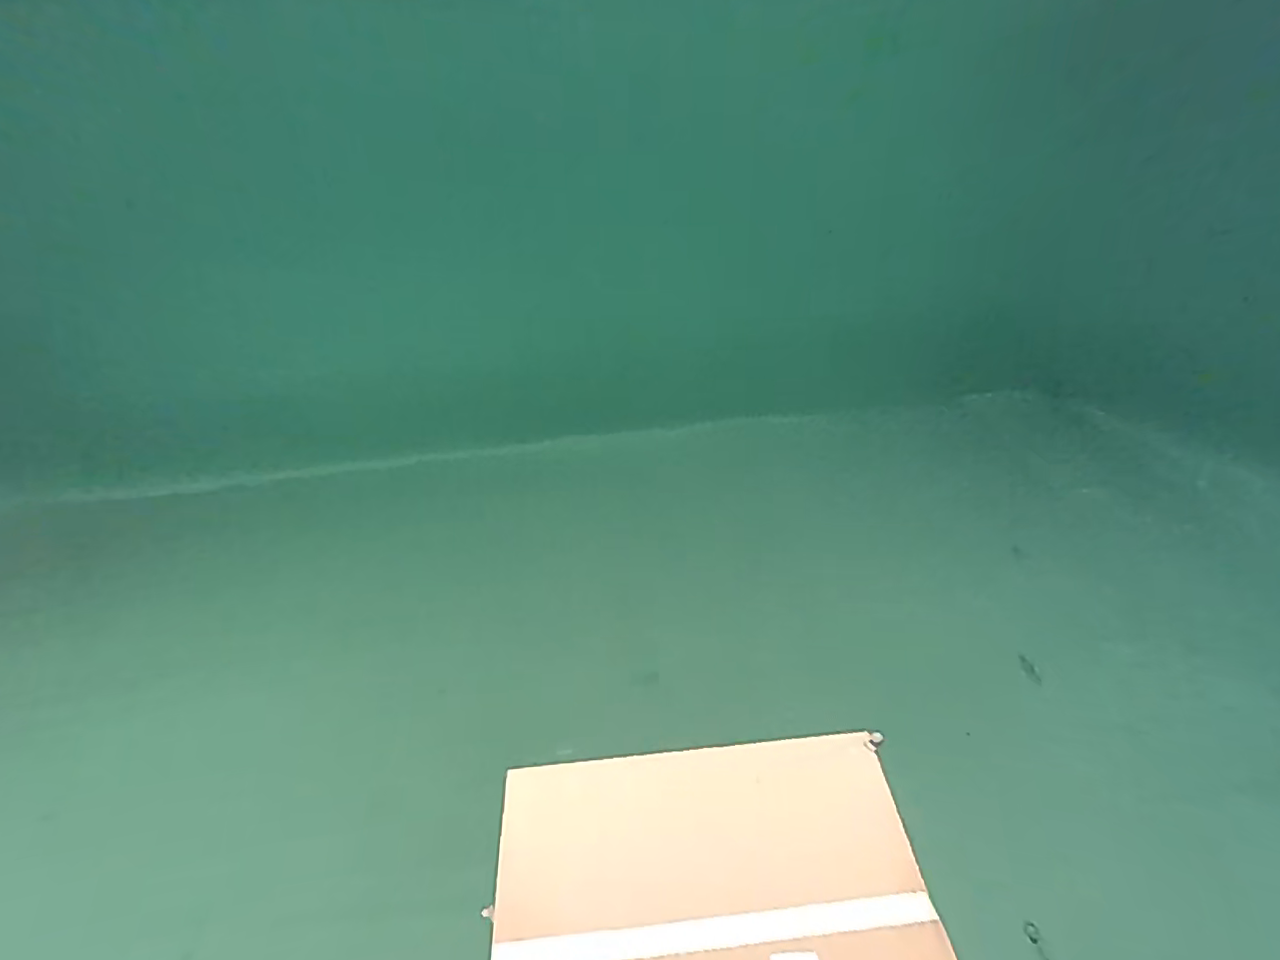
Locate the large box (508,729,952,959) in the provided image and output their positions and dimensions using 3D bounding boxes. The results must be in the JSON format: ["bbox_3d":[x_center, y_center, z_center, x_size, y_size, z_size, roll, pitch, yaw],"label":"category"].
[{"bbox_3d":[0.080,0.517,0.606,0.408,0.320,0.320,-6,46,-2],"label":"large box"}]
